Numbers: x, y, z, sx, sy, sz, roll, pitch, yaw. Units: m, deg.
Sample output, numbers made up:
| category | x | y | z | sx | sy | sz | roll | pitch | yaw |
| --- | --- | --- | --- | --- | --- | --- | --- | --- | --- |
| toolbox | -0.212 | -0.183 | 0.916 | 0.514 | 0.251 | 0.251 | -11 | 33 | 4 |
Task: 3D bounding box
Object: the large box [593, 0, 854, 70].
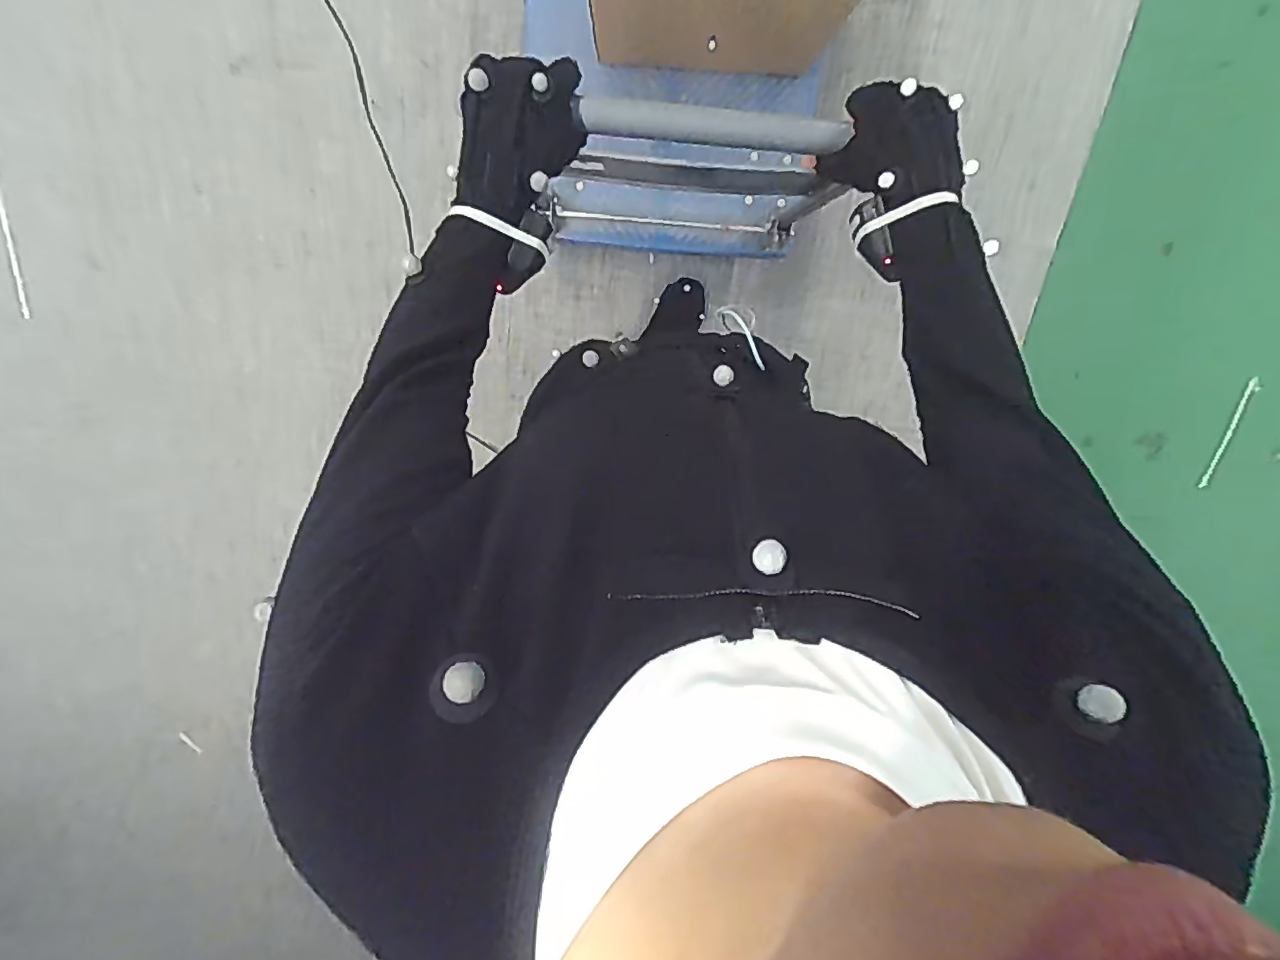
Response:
| category | x | y | z | sx | sy | sz | roll | pitch | yaw |
| --- | --- | --- | --- | --- | --- | --- | --- | --- | --- |
| large box | 0.132 | -0.905 | 0.874 | 0.408 | 0.320 | 0.320 | 3 | 108 | 0 |
